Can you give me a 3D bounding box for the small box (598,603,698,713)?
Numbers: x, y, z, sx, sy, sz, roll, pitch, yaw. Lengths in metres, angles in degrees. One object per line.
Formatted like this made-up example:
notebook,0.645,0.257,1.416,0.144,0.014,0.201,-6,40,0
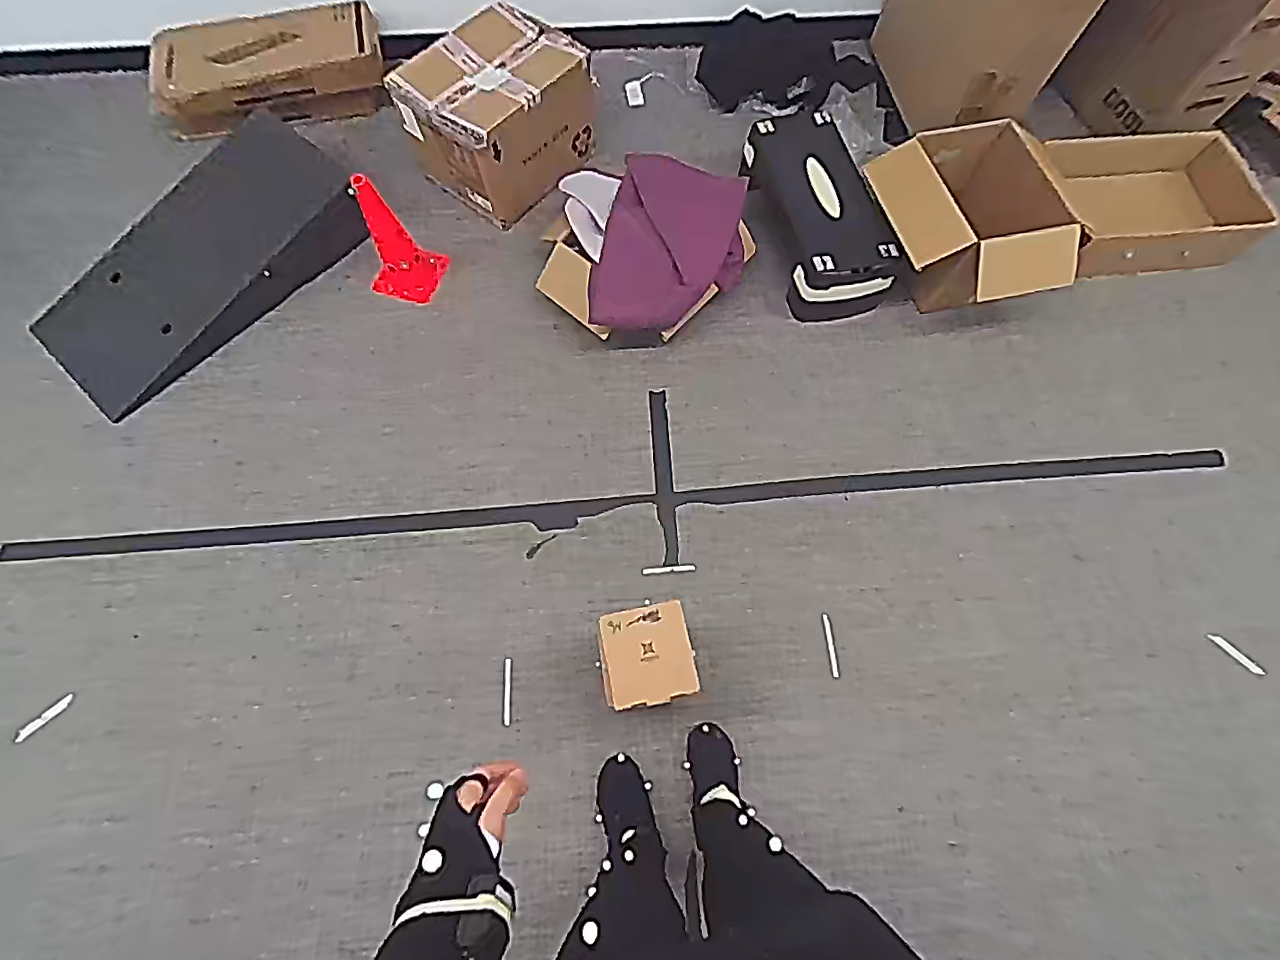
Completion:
small box,0.016,0.360,1.099,0.168,0.176,0.179,-11,70,-3
